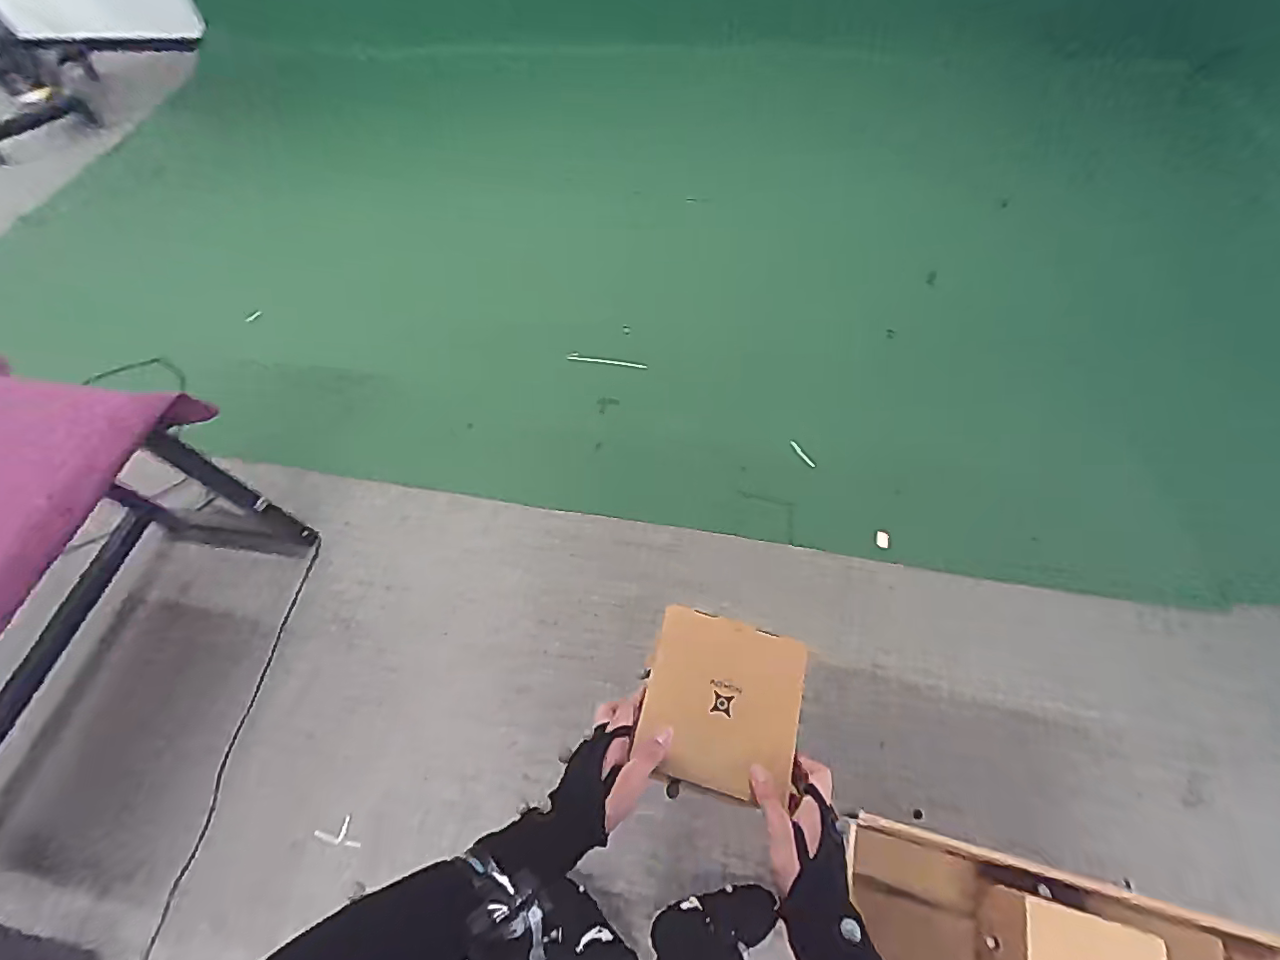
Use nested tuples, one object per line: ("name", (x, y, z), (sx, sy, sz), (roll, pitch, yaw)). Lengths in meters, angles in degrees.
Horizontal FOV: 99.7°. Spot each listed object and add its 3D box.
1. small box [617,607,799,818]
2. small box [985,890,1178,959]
("small box", (0.074, 0.277, 0.639), (0.168, 0.176, 0.179), (15, 59, 4))
("small box", (0.615, 0.716, 0.770), (0.179, 0.176, 0.168), (12, 63, 13))
